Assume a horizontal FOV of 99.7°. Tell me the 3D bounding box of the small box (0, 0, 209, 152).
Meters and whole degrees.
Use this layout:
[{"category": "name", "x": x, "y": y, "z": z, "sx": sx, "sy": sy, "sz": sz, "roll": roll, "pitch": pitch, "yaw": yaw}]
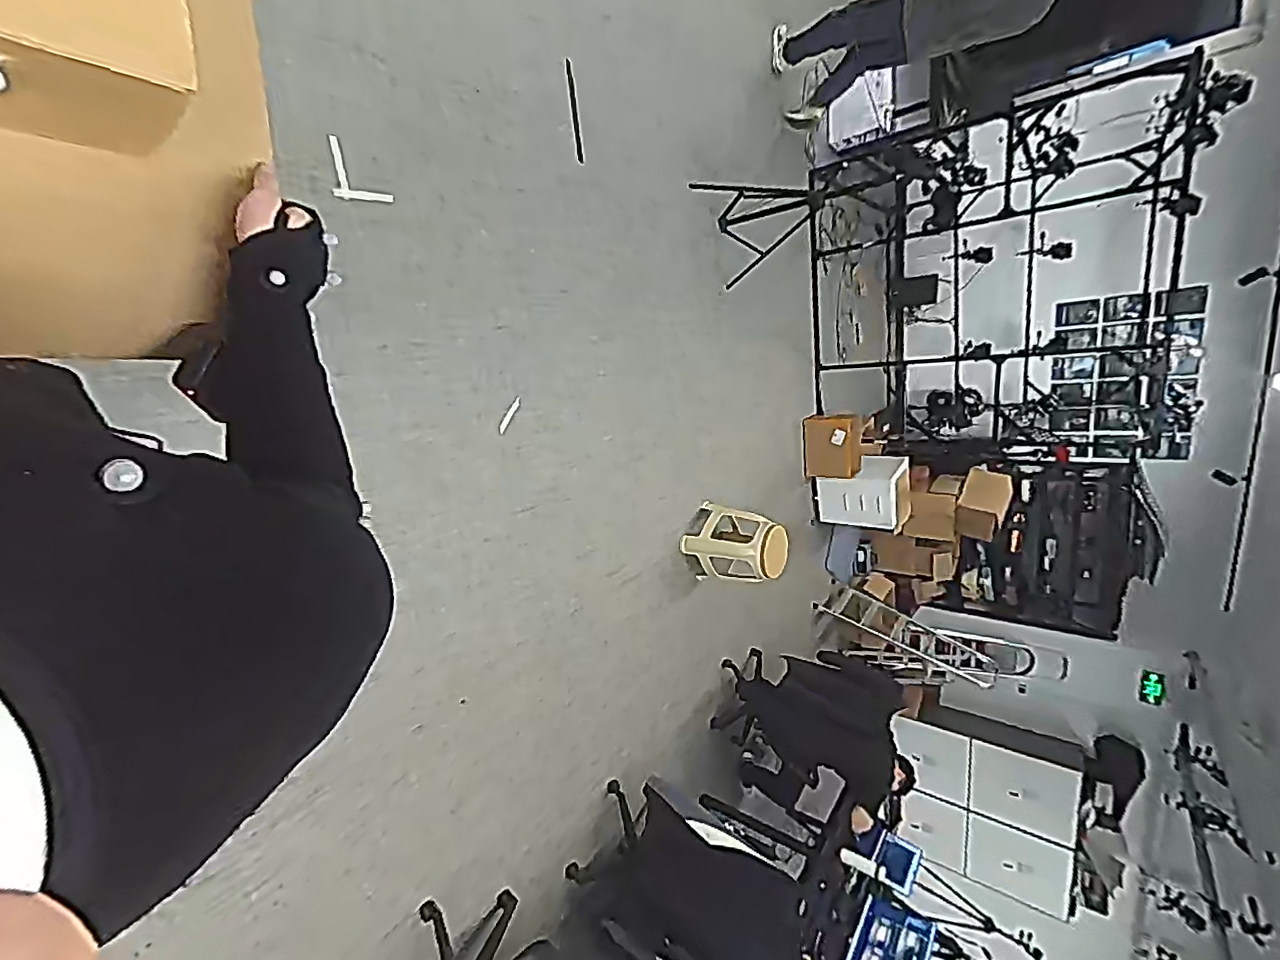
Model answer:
[{"category": "small box", "x": -0.417, "y": -0.340, "z": 0.350, "sx": 0.179, "sy": 0.176, "sz": 0.168, "roll": -12, "pitch": 106, "yaw": -47}]
